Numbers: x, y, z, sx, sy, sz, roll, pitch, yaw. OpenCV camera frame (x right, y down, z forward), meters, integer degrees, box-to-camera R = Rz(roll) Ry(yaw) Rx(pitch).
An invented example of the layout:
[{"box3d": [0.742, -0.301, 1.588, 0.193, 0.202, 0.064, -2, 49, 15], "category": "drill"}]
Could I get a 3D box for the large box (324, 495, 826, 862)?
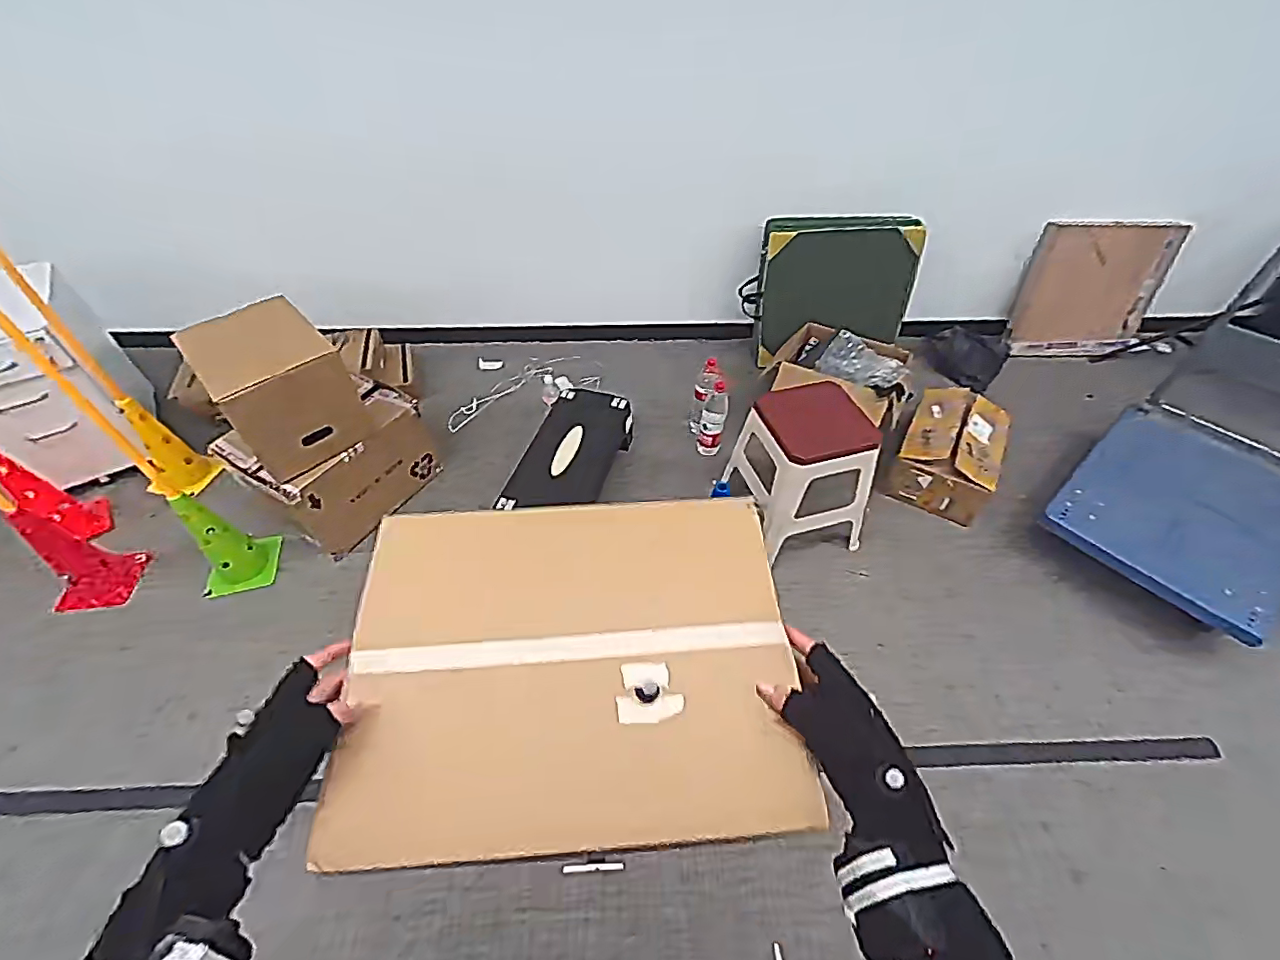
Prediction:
[{"box3d": [-0.062, 0.237, 0.628, 0.408, 0.320, 0.320, -2, 56, -4], "category": "large box"}]
